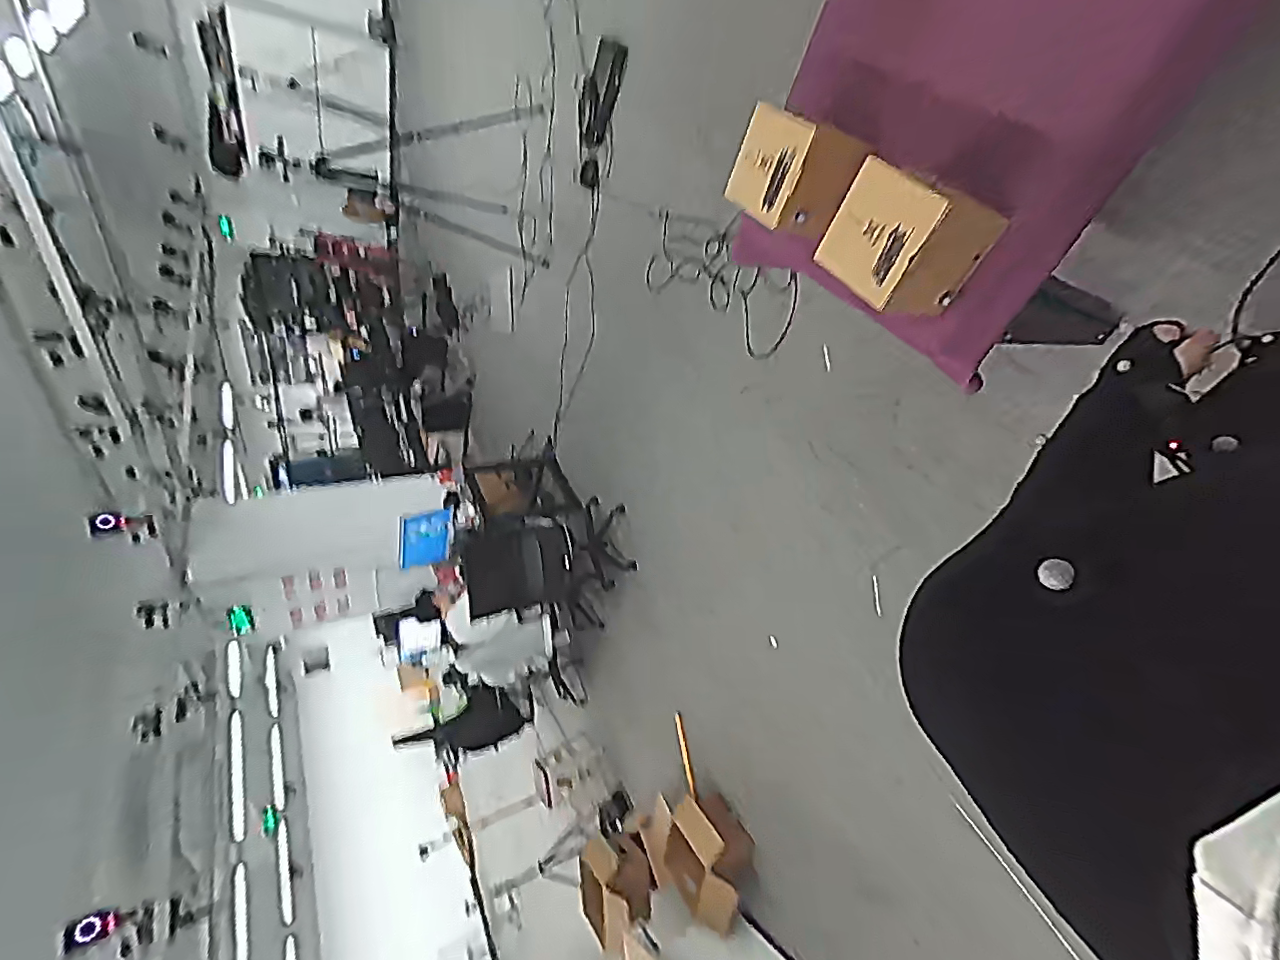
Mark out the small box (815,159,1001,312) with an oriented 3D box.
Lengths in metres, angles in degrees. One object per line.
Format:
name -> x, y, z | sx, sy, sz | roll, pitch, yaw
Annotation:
small box -> 0.432, -0.390, 0.880 | 0.179, 0.176, 0.168 | 59, 142, 34
